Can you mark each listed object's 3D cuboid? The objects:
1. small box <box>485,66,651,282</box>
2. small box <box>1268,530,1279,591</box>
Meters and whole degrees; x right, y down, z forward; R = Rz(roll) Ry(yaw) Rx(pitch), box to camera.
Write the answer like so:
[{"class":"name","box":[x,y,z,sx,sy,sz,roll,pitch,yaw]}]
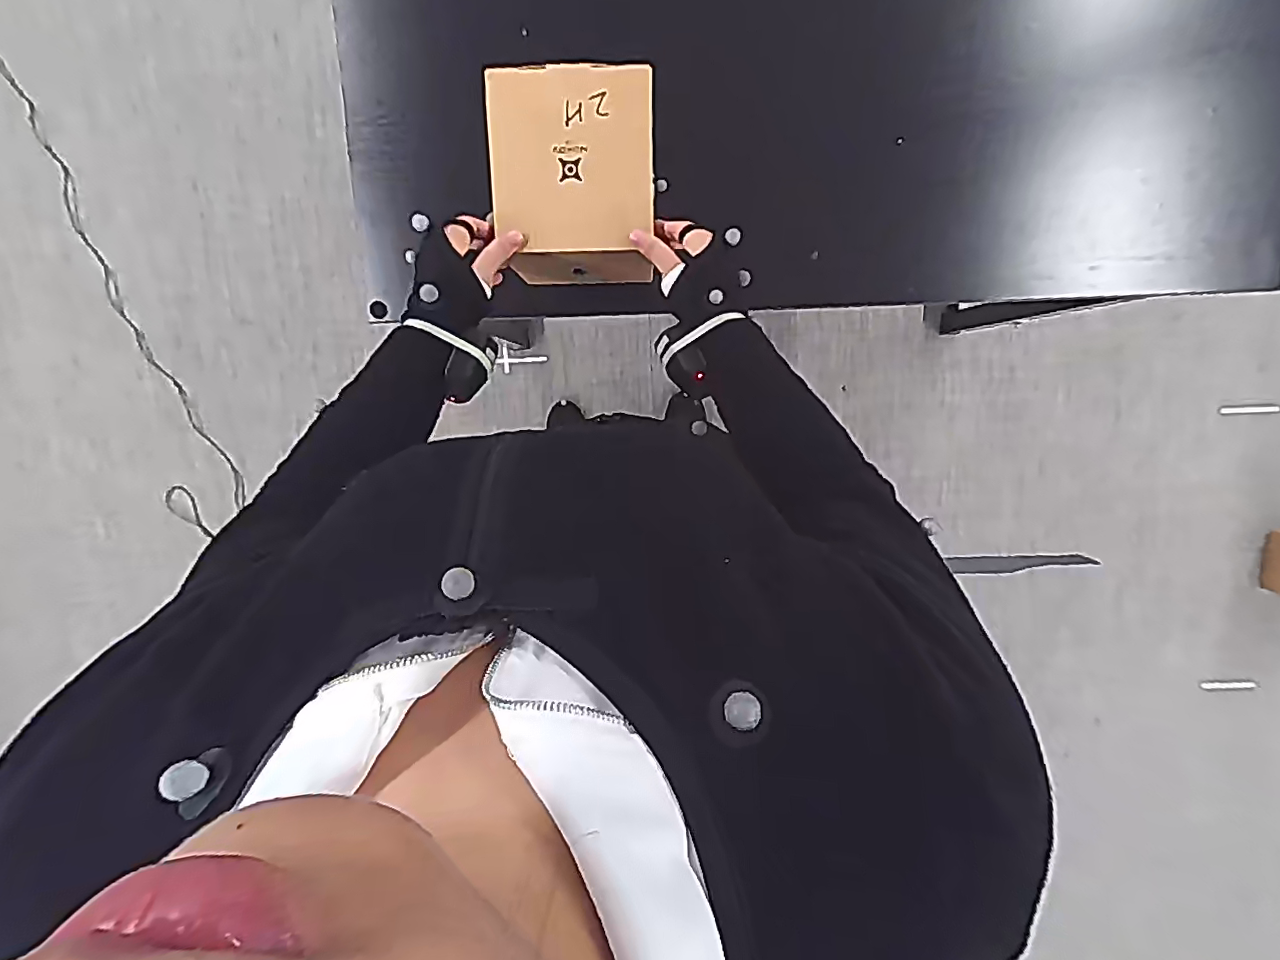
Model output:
[{"class":"small box","box":[-0.070,-0.332,0.624,0.168,0.176,0.179,-1,98,1]},{"class":"small box","box":[1.822,0.232,1.415,0.168,0.176,0.179,-3,98,1]}]
